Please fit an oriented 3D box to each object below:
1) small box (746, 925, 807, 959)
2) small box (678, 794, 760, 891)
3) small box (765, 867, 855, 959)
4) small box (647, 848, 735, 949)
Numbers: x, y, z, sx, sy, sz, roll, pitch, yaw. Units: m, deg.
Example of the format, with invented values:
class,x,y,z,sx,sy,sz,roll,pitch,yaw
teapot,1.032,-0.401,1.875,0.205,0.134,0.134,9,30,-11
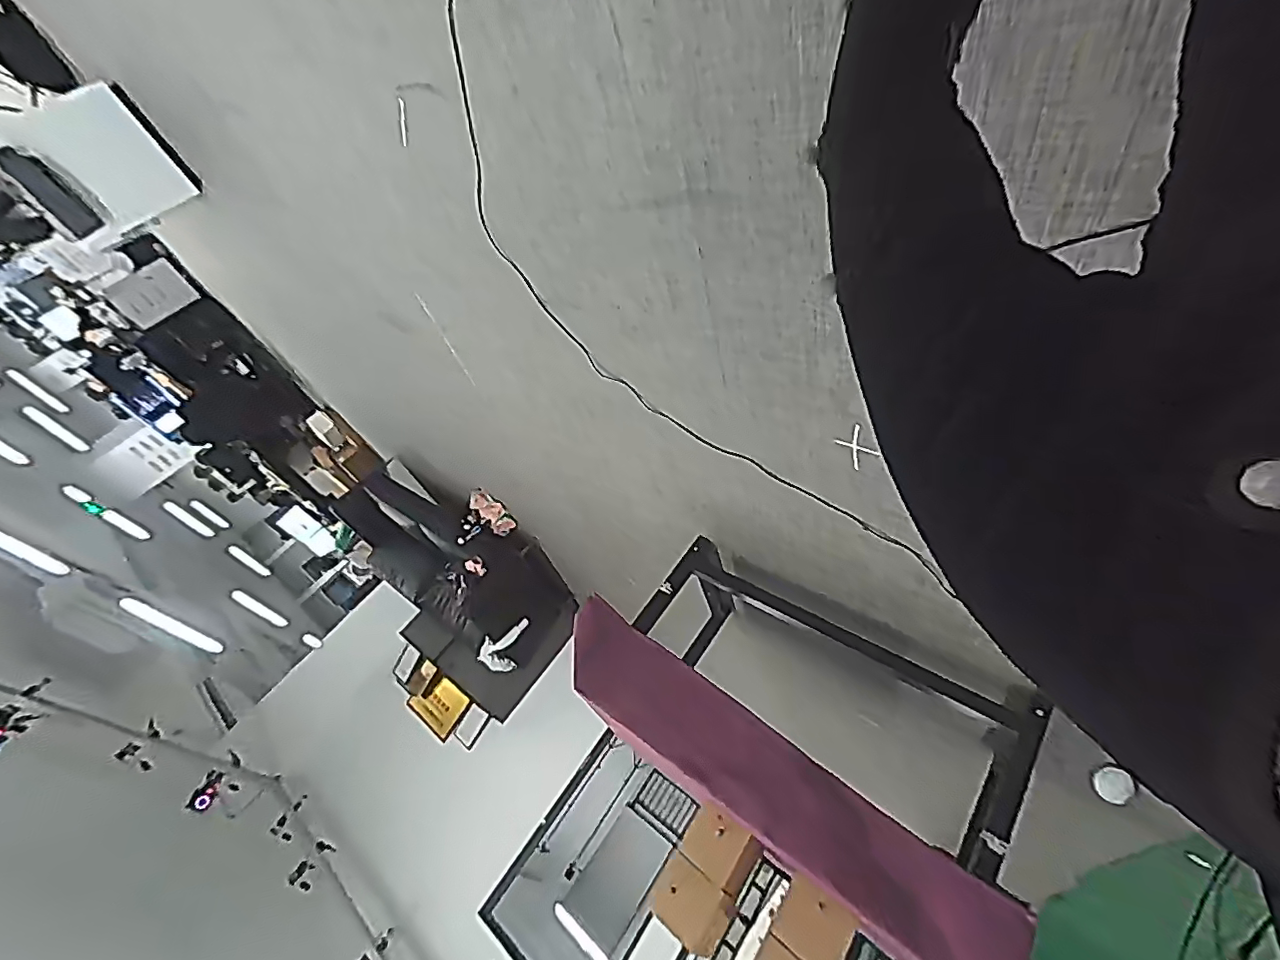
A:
class,x,y,z,sx,sy,sz,roll,pitch,yaw
small box,0.375,1.324,1.431,0.179,0.176,0.168,21,149,36
small box,0.252,1.120,1.676,0.168,0.176,0.179,18,147,41
small box,0.474,1.211,1.497,0.179,0.176,0.168,22,150,37
small box,0.155,1.232,1.606,0.179,0.176,0.168,19,149,40
